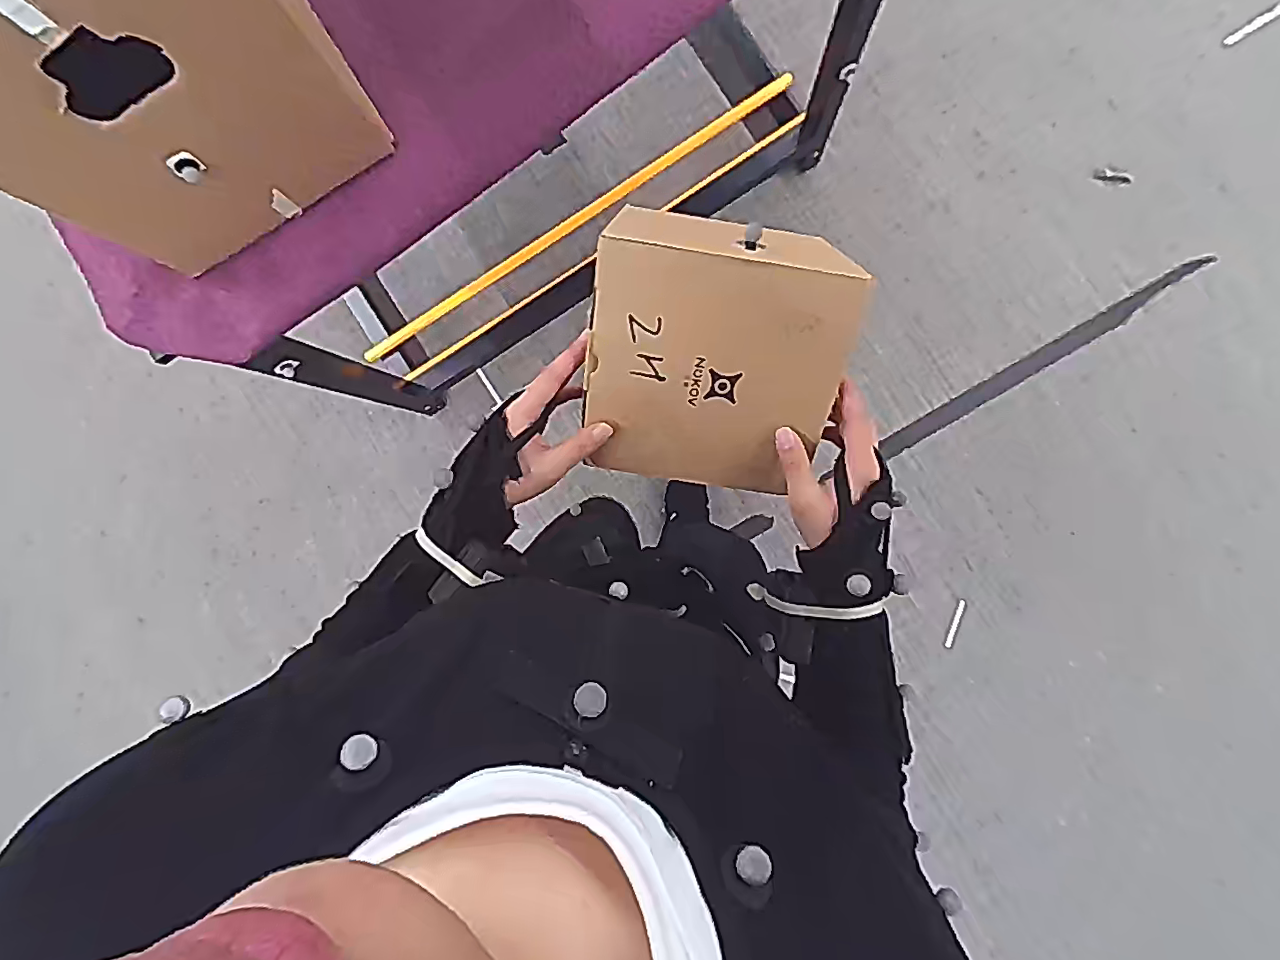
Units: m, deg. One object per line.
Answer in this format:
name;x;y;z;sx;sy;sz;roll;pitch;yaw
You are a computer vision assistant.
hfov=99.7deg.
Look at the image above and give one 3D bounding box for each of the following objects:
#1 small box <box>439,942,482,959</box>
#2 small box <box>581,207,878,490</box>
small box;-0.473;1.308;1.323;0.179;0.176;0.168;-38;88;3
small box;0.057;-0.115;0.441;0.179;0.176;0.168;9;122;-1
